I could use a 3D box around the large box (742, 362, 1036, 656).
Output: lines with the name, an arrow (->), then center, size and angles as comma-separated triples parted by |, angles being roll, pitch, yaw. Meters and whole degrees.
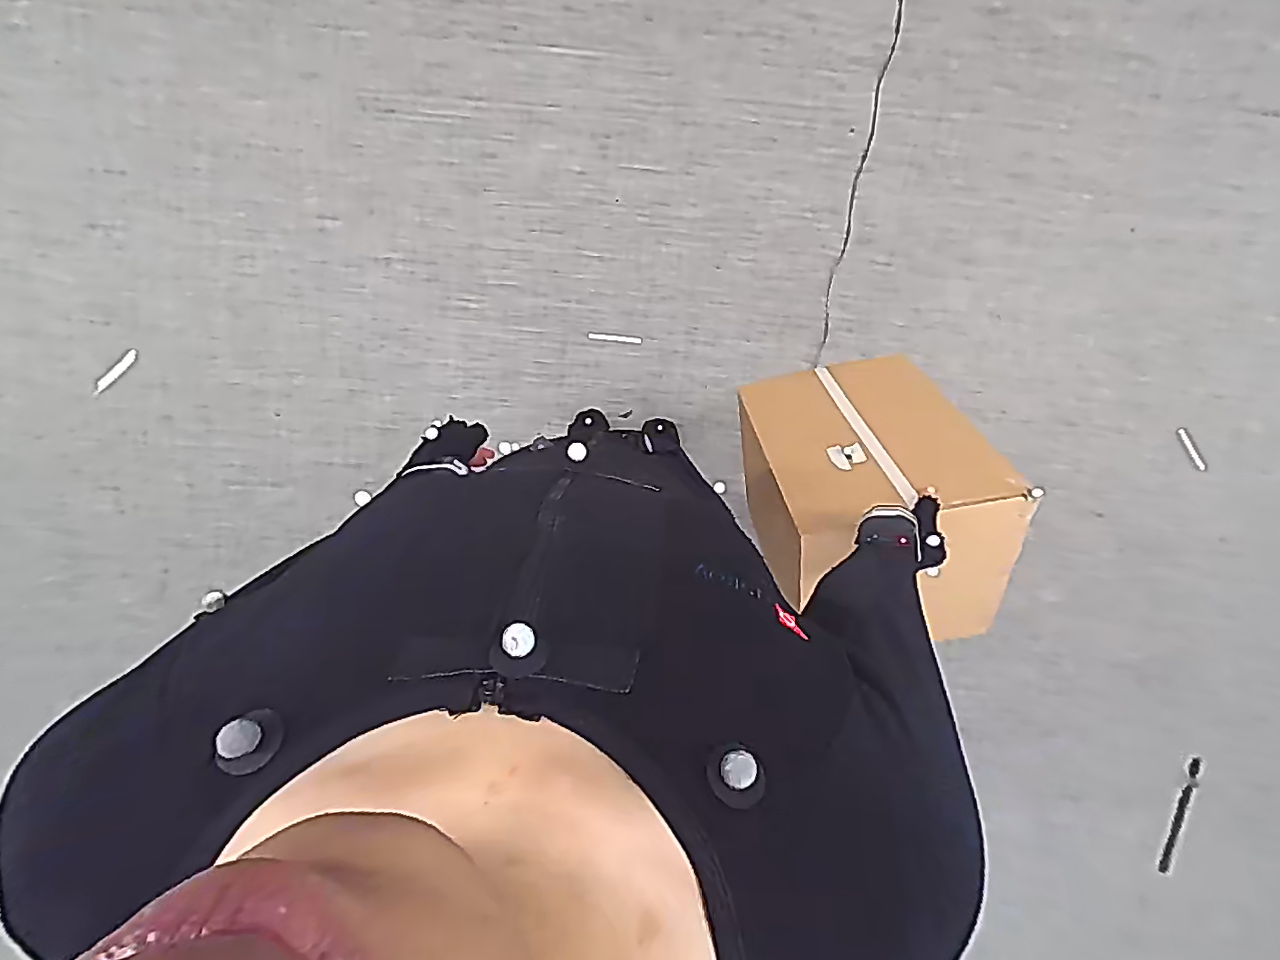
large box -> 0.385, 0.040, 0.970 | 0.320, 0.408, 0.320 | -11, 130, 3
